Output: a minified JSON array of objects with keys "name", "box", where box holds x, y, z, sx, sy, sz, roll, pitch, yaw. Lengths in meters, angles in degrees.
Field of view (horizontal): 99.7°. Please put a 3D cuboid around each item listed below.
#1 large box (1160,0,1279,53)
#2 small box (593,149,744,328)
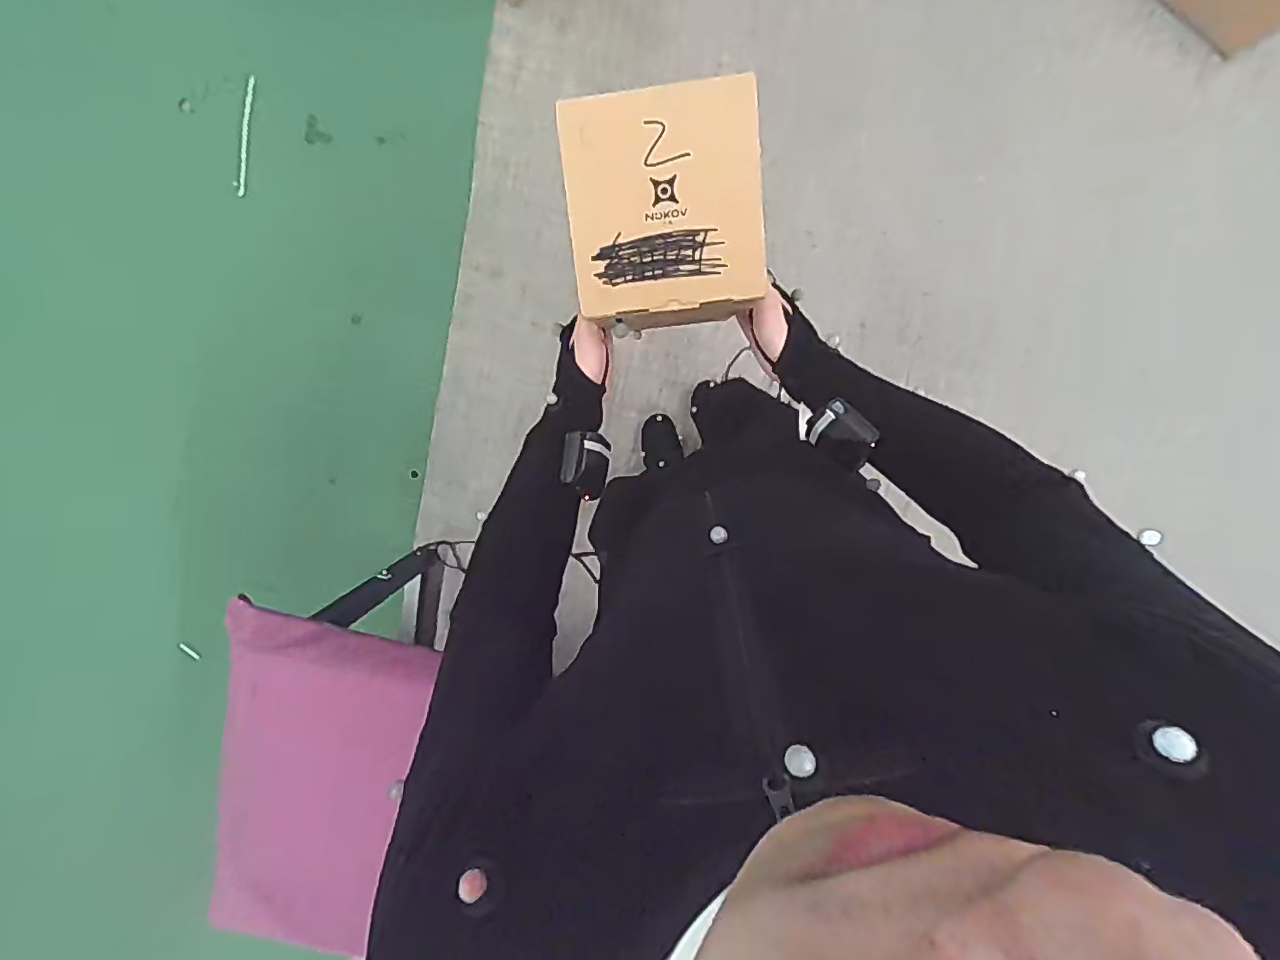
[{"name":"large box","box":[1.428,-1.290,1.202,0.408,0.320,0.320,36,99,-3]},{"name":"small box","box":[0.040,-0.290,0.691,0.168,0.176,0.179,-5,102,4]}]
